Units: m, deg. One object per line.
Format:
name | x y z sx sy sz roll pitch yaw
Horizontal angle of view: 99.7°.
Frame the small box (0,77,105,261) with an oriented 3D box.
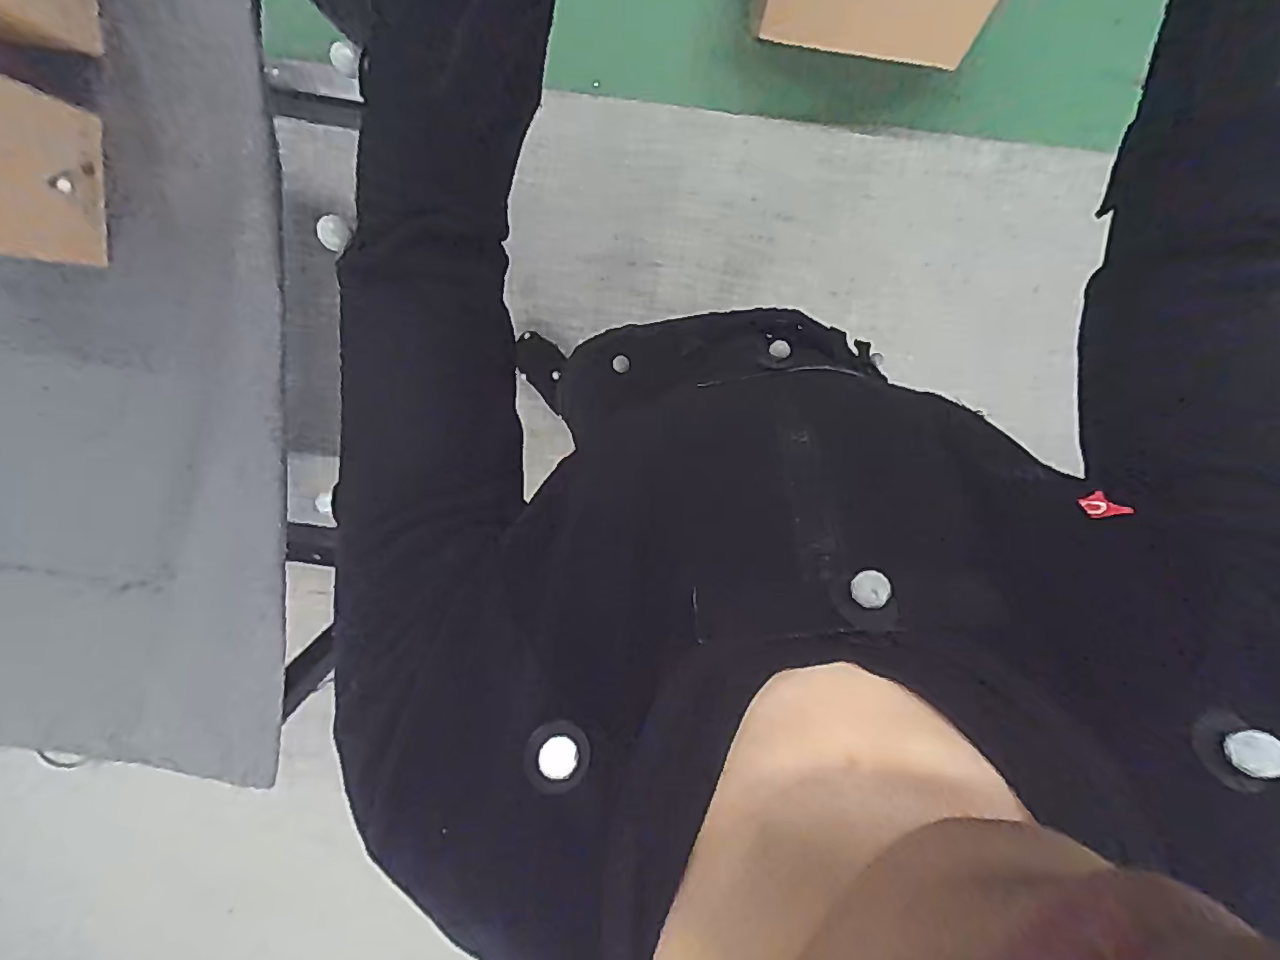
small box | -0.712 -0.331 0.550 0.179 0.176 0.168 11 105 -3
